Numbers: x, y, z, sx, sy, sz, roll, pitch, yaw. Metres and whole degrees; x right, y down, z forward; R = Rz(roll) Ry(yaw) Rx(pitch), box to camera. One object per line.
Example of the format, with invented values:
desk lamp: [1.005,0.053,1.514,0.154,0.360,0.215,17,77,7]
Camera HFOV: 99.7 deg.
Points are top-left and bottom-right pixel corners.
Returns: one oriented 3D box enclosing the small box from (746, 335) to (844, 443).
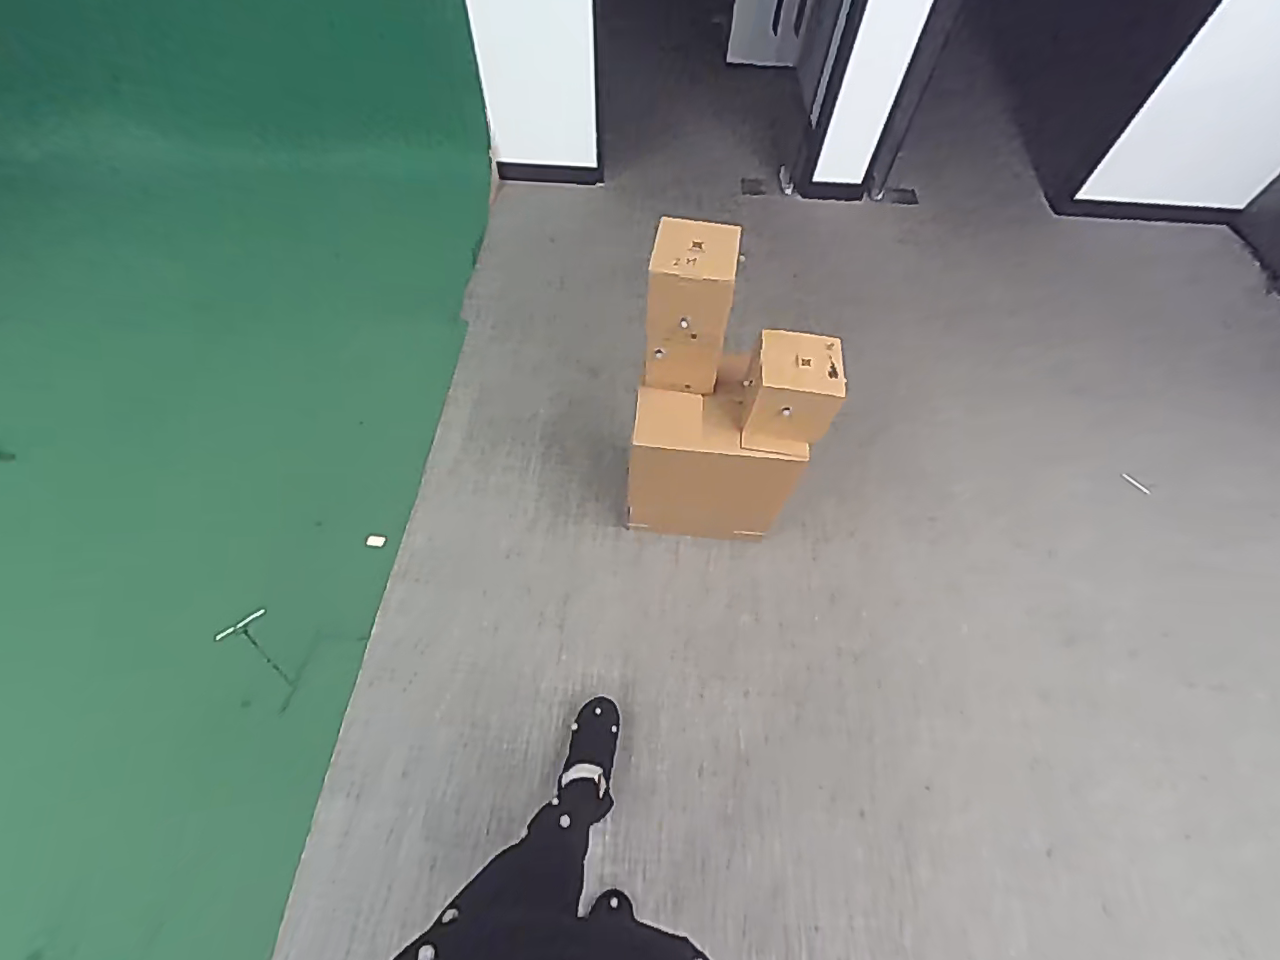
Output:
small box: [0.336,-0.197,1.205,0.179,0.176,0.168,7,61,2]

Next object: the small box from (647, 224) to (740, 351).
small box: [0.107,-0.400,1.130,0.168,0.176,0.179,9,59,5]
